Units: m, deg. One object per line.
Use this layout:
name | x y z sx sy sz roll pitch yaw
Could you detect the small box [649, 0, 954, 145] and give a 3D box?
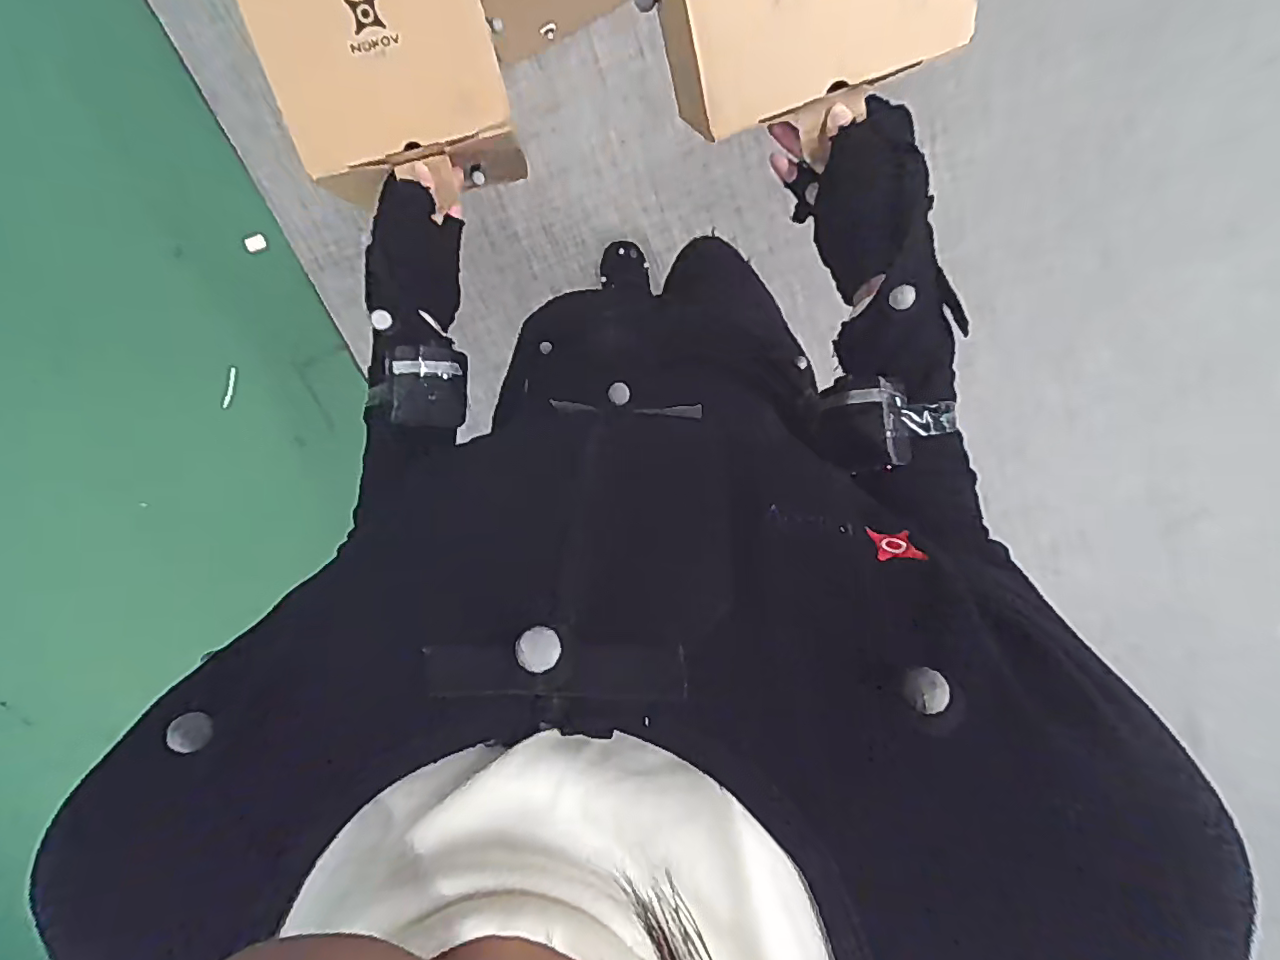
small box | 0.089 -0.361 0.361 0.168 0.176 0.179 -16 128 9
